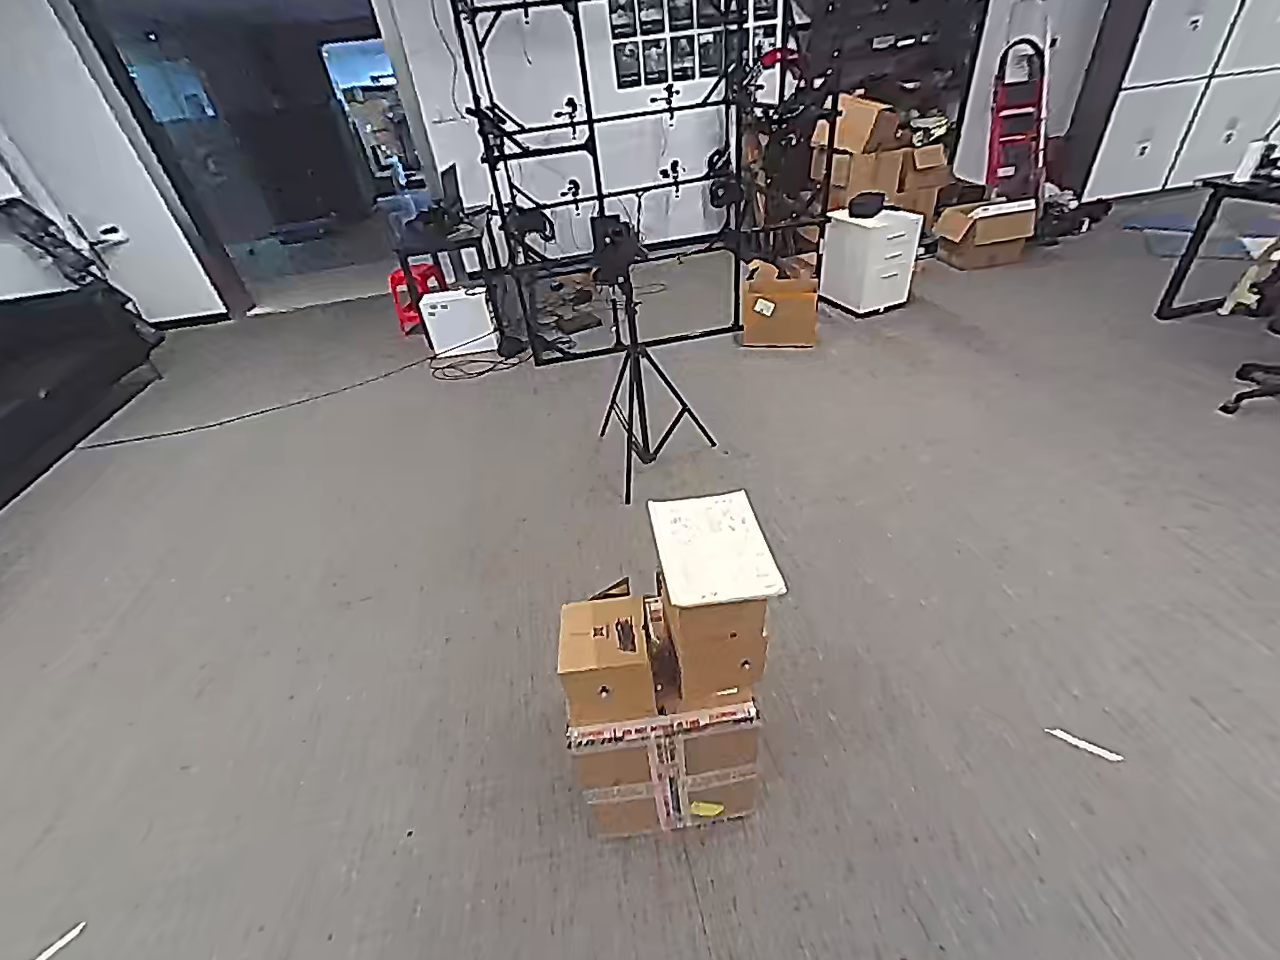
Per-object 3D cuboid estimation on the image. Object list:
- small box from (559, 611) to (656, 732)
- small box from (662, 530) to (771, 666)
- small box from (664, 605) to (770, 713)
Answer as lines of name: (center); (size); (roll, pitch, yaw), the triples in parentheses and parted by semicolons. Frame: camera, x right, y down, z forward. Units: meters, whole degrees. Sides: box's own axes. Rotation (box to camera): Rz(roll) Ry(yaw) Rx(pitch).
small box: (-0.060, 0.395, 1.114); (0.179, 0.176, 0.168); (-8, 39, 2)
small box: (0.138, 0.224, 1.038); (0.168, 0.176, 0.179); (-9, 37, -6)
small box: (0.153, 0.357, 1.131); (0.179, 0.176, 0.168); (-10, 38, -7)
